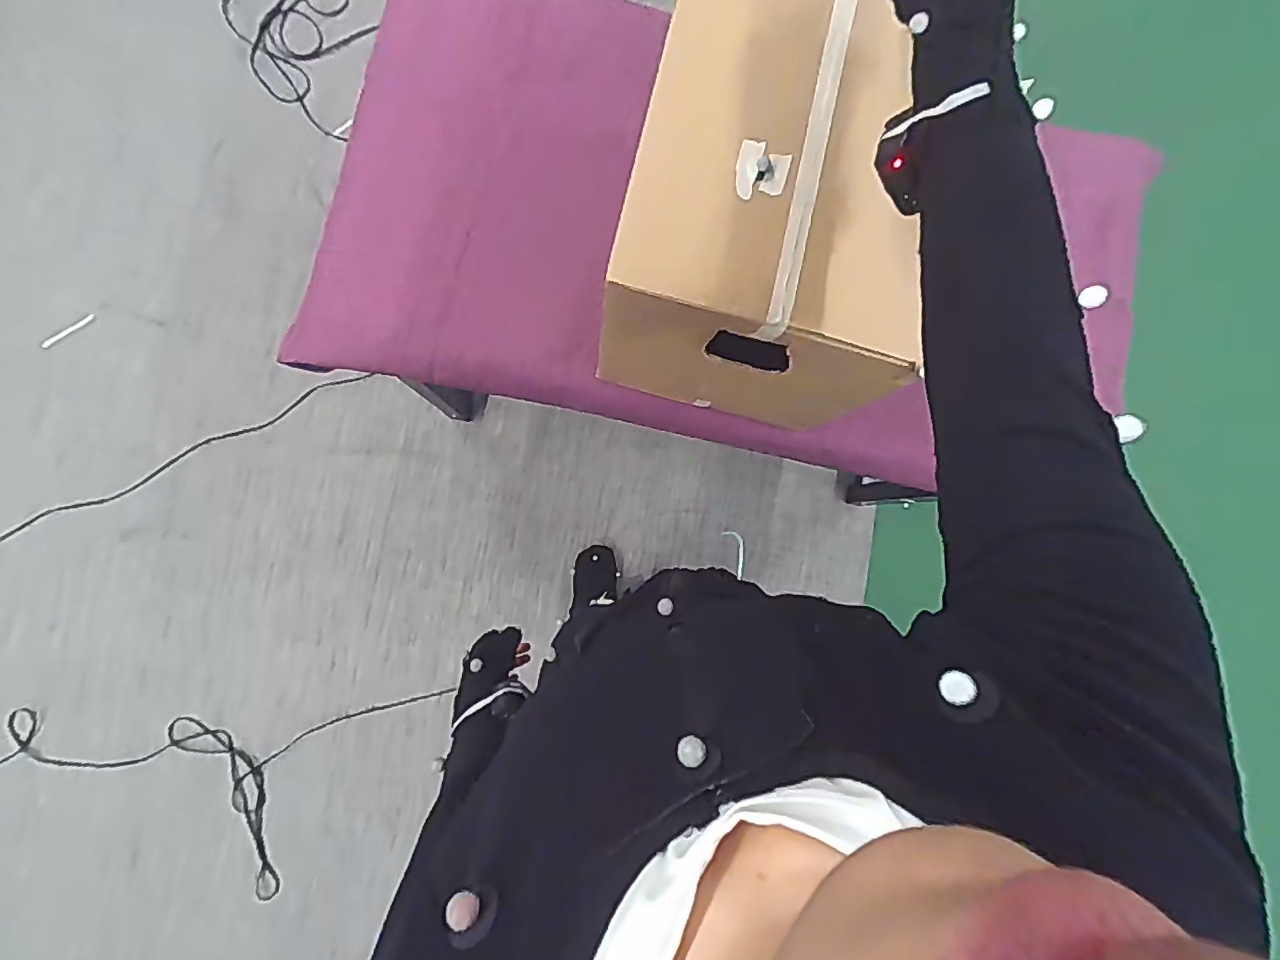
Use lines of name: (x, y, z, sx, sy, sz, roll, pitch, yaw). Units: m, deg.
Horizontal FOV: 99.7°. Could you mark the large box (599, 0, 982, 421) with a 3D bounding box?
large box: (0.146, -0.324, 0.667, 0.320, 0.320, 0.408, 14, 84, -4)
